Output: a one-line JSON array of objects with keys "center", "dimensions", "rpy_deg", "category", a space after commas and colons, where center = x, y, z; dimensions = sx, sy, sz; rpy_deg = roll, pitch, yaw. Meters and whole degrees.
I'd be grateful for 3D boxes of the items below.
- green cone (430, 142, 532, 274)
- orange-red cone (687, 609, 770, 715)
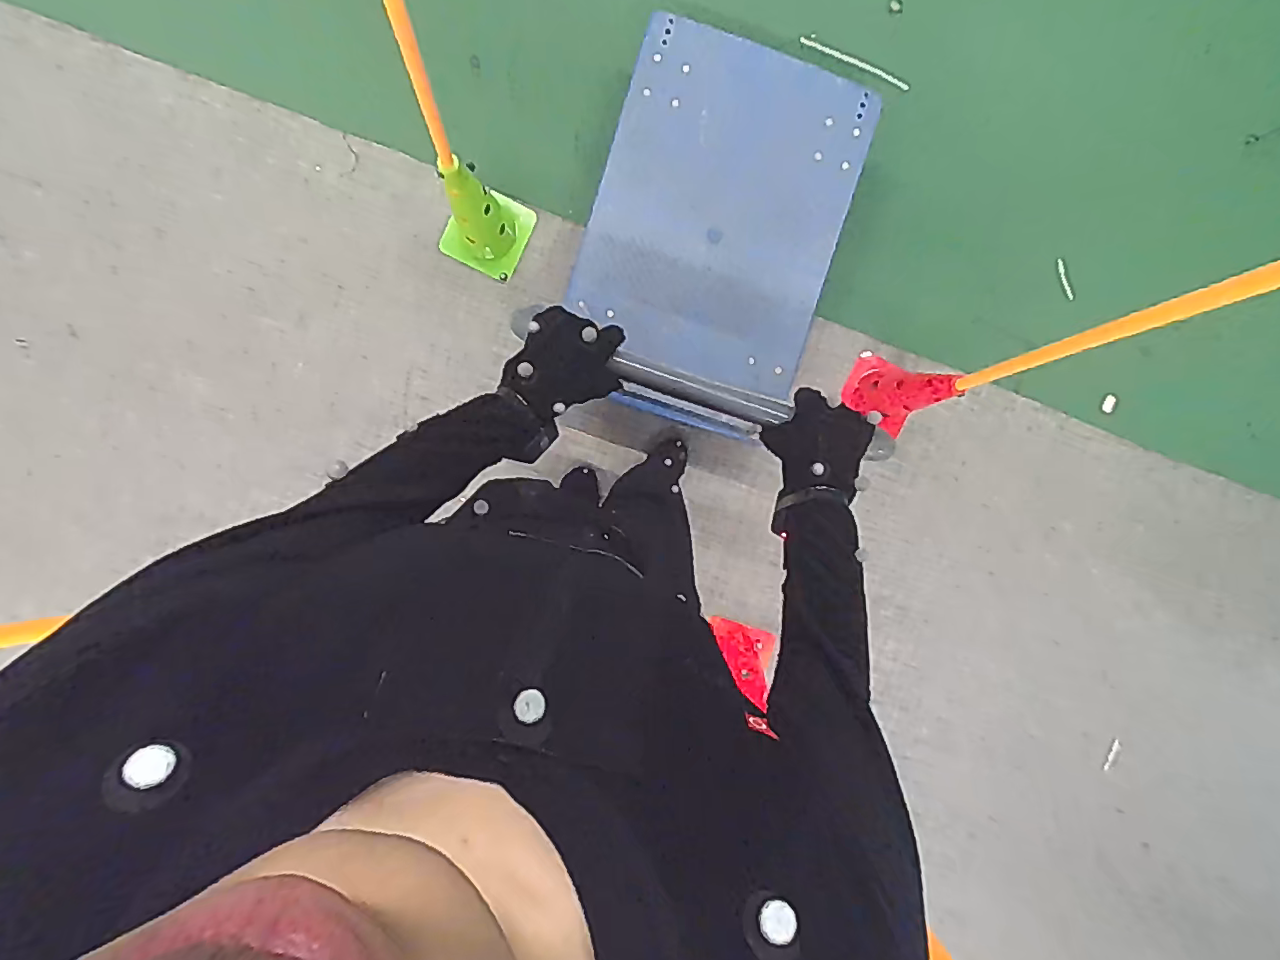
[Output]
[{"center": [-0.393, -0.650, 1.229], "dimensions": [0.202, 0.368, 0.200], "rpy_deg": [25, 92, -4], "category": "green cone"}, {"center": [0.258, 0.491, 1.361], "dimensions": [0.199, 0.360, 0.198], "rpy_deg": [20, 92, -3], "category": "orange-red cone"}]
